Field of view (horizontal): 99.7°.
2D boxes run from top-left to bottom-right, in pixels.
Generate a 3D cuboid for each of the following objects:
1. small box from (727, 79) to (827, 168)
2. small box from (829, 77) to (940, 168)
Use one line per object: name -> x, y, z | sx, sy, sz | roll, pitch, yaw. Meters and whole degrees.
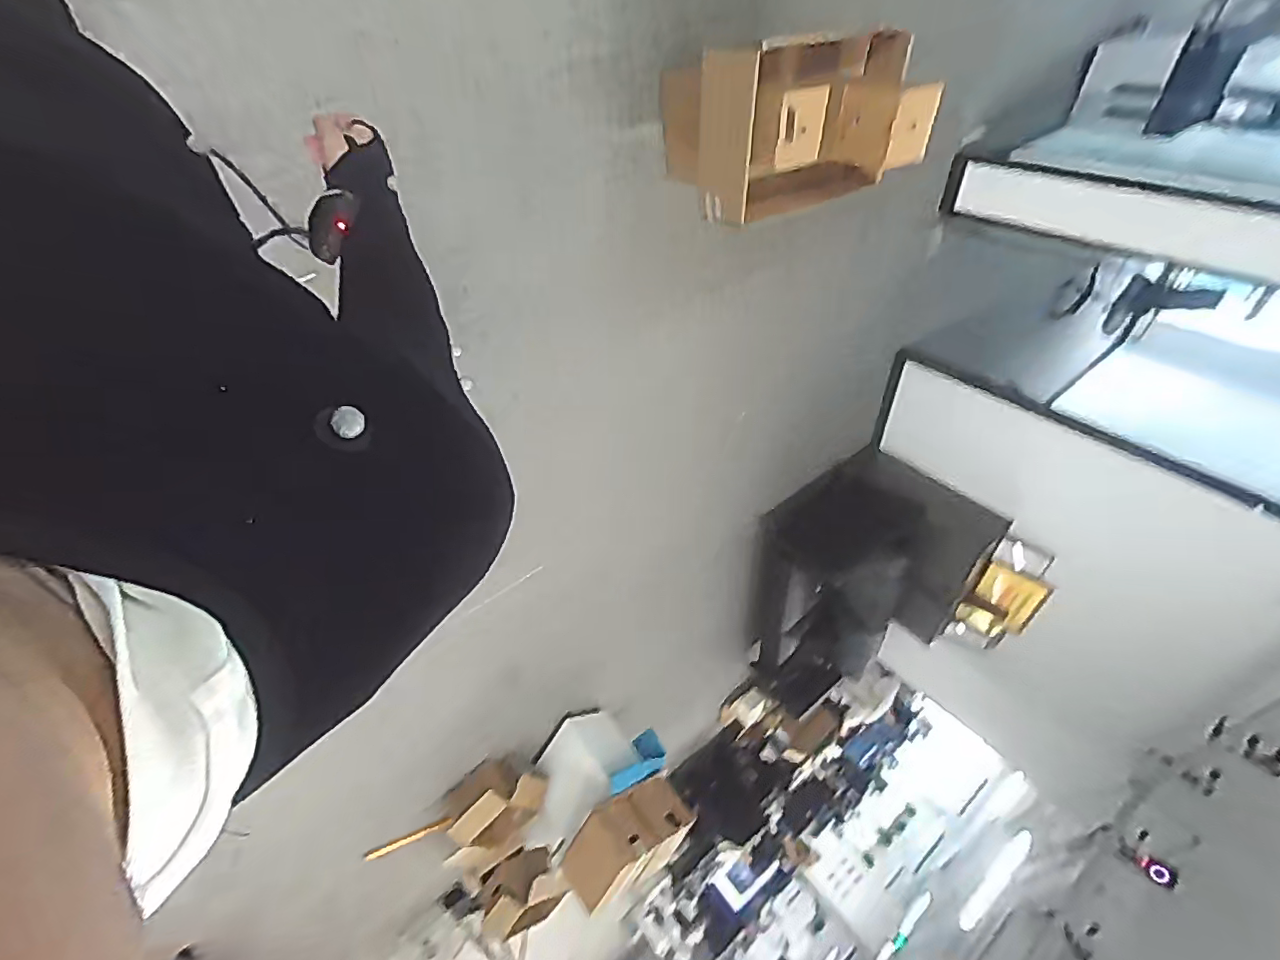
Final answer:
small box -> 0.345, -0.922, 1.395 | 0.179, 0.176, 0.168 | -29, 140, -27
small box -> 0.630, -0.935, 1.408 | 0.179, 0.176, 0.168 | -27, 139, -25
